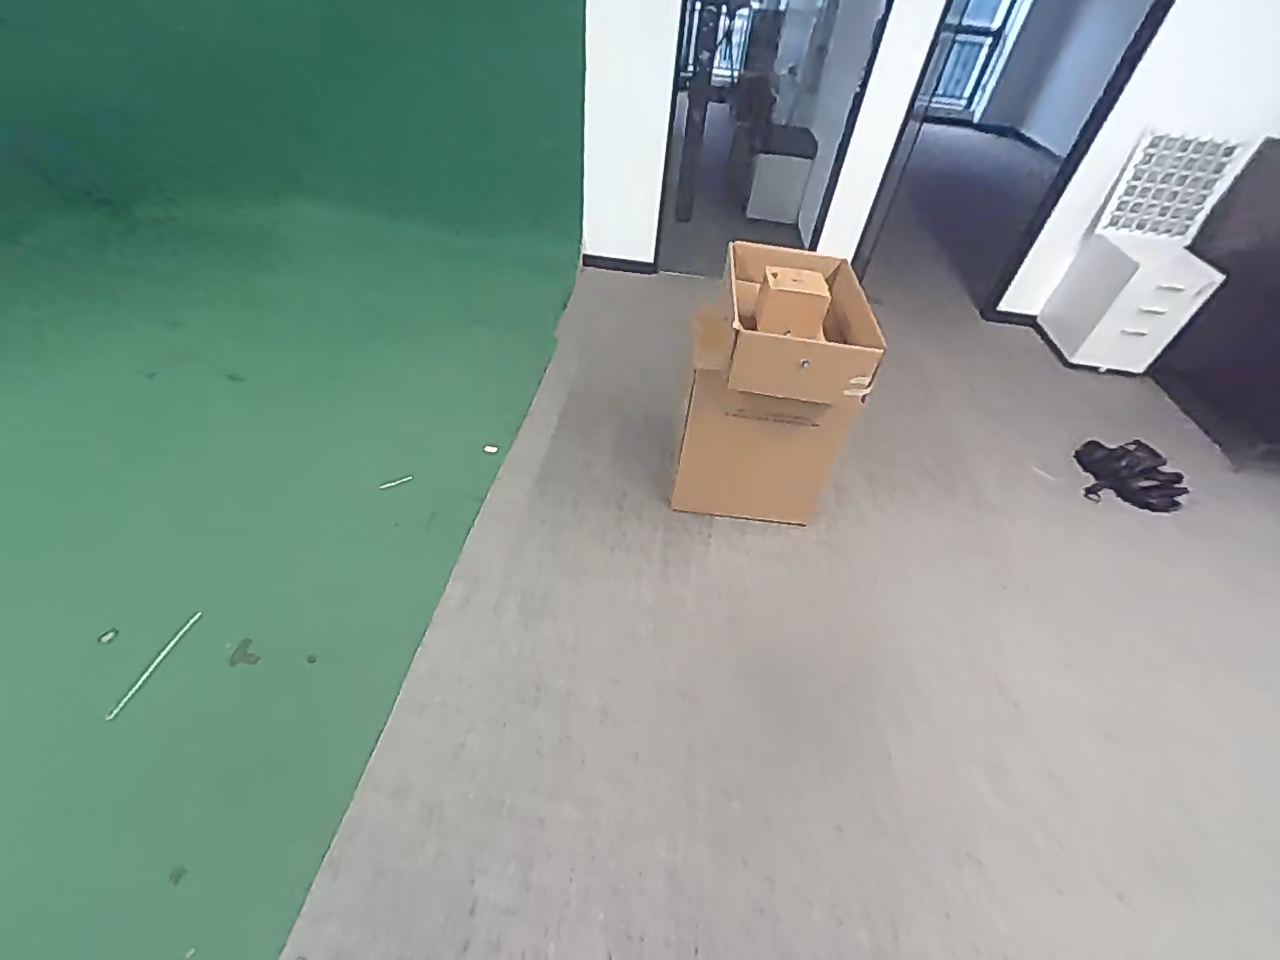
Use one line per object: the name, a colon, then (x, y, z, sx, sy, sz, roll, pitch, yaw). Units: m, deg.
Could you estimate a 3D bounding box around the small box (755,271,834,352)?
small box: (0.455, -0.501, 1.621, 0.179, 0.176, 0.168, 8, 42, -1)
